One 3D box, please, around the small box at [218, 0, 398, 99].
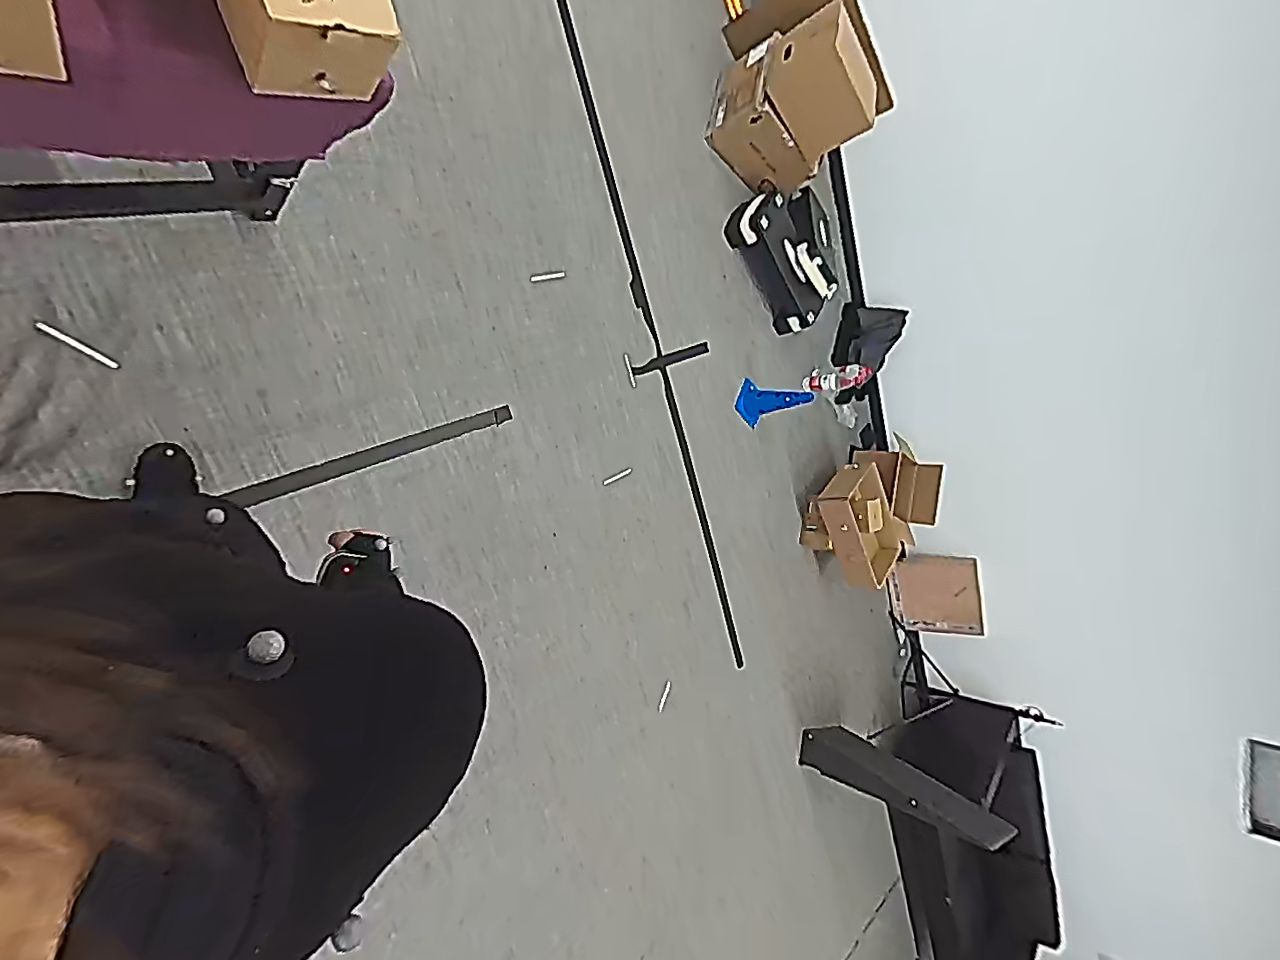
[{"bbox_3d":[-0.463,-0.660,0.731,0.168,0.176,0.179,-27,109,-38],"label":"small box"}]
